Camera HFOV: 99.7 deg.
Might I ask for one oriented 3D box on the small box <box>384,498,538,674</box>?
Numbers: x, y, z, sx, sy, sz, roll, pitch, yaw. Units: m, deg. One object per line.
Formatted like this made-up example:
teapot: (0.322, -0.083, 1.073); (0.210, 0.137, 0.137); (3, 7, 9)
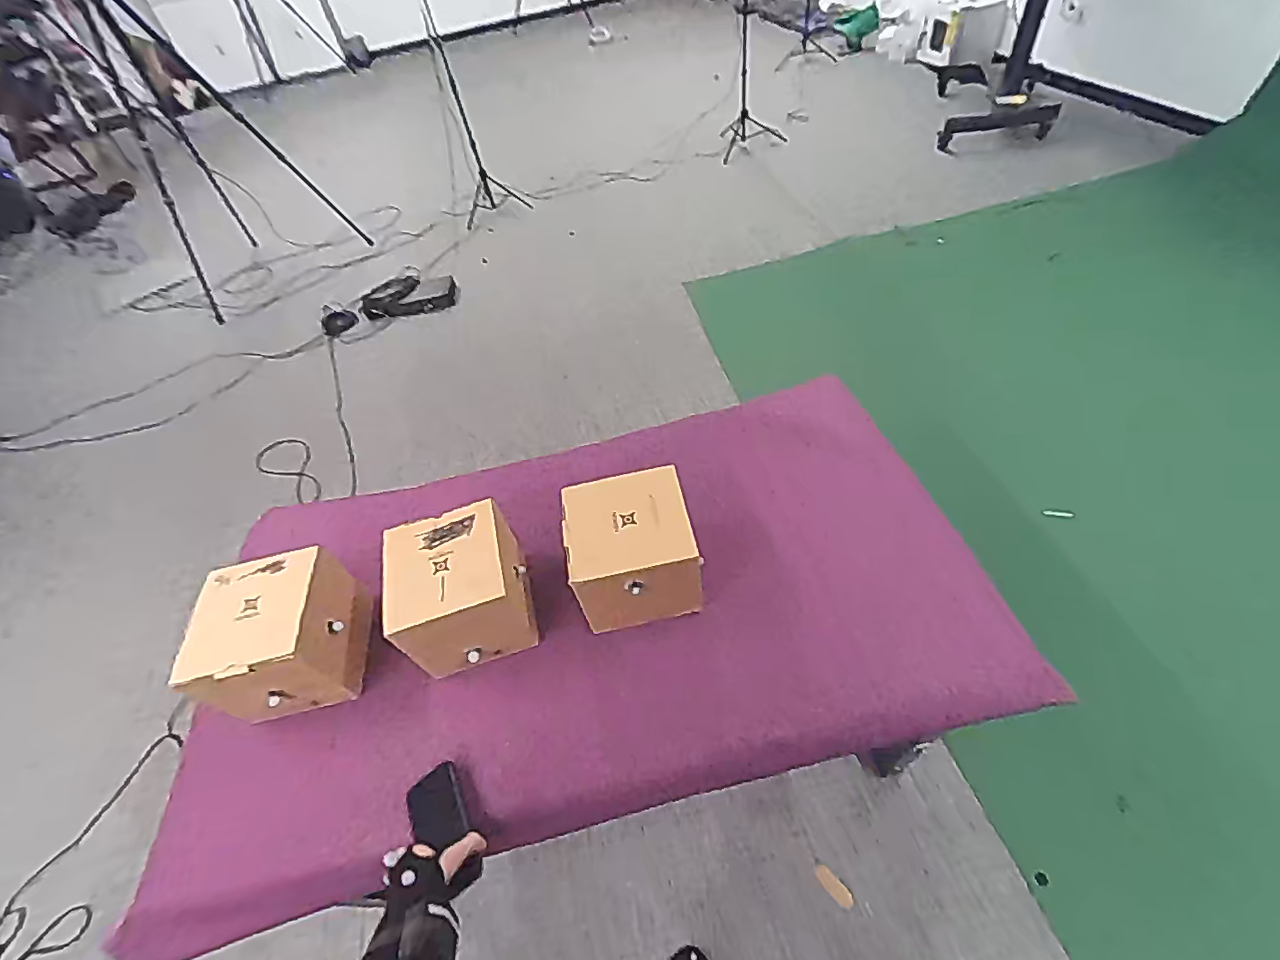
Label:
small box: (-0.264, 0.162, 0.816); (0.168, 0.176, 0.179); (-18, 50, -5)

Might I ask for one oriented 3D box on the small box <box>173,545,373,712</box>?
small box: (-0.524, 0.229, 0.806); (0.168, 0.176, 0.179); (-14, 50, -1)

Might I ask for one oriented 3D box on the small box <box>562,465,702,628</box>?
small box: (-0.011, 0.105, 0.819); (0.179, 0.176, 0.168); (-12, 50, 0)
